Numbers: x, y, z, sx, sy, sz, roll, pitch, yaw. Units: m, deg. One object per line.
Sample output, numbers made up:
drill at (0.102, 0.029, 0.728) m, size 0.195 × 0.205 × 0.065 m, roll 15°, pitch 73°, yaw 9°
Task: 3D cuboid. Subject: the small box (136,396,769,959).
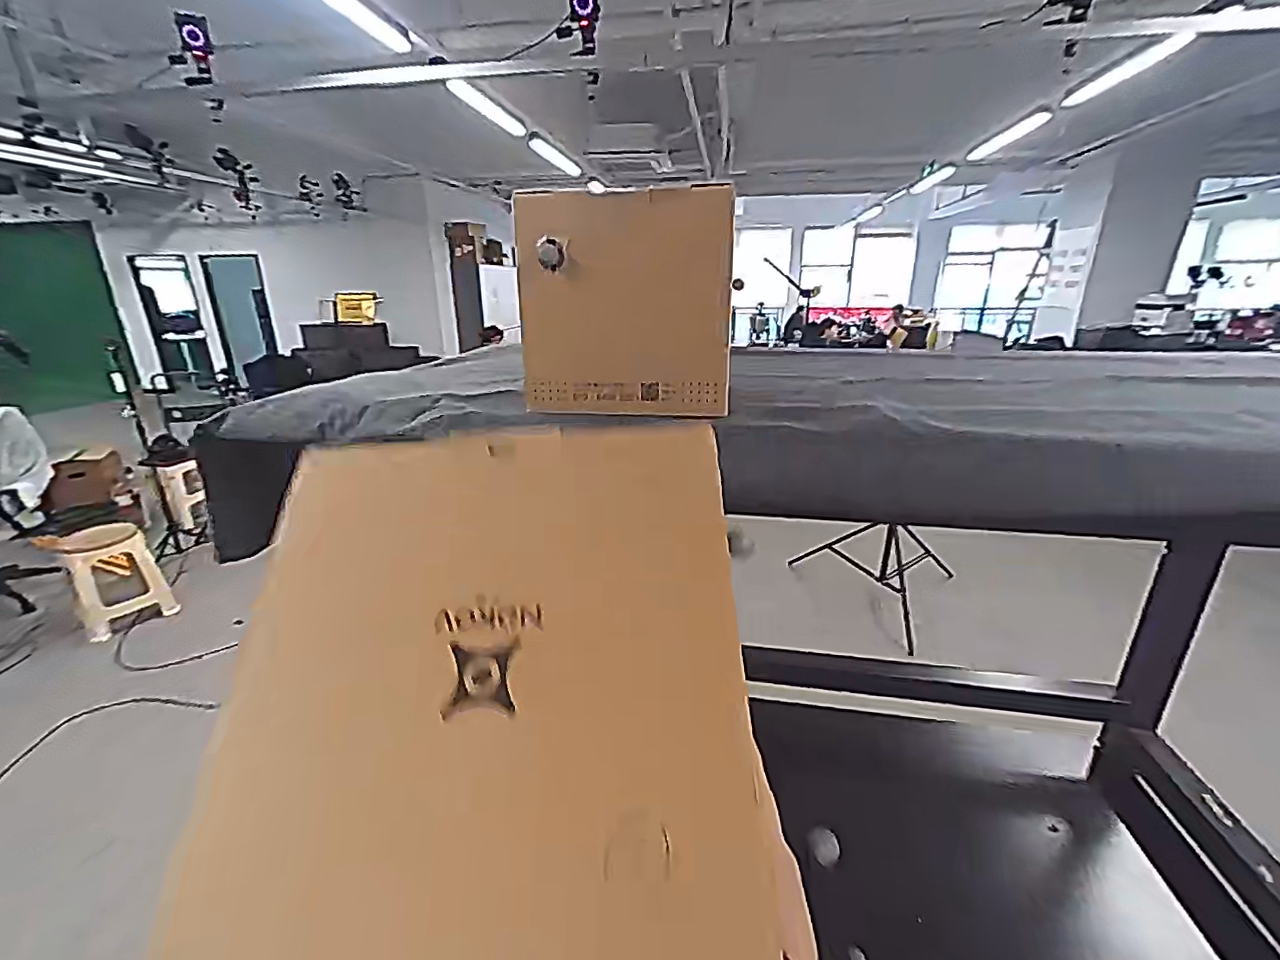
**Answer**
small box at (-0.046, 0.086, 0.244) m, size 0.168 × 0.176 × 0.179 m, roll -4°, pitch 60°, yaw 1°
